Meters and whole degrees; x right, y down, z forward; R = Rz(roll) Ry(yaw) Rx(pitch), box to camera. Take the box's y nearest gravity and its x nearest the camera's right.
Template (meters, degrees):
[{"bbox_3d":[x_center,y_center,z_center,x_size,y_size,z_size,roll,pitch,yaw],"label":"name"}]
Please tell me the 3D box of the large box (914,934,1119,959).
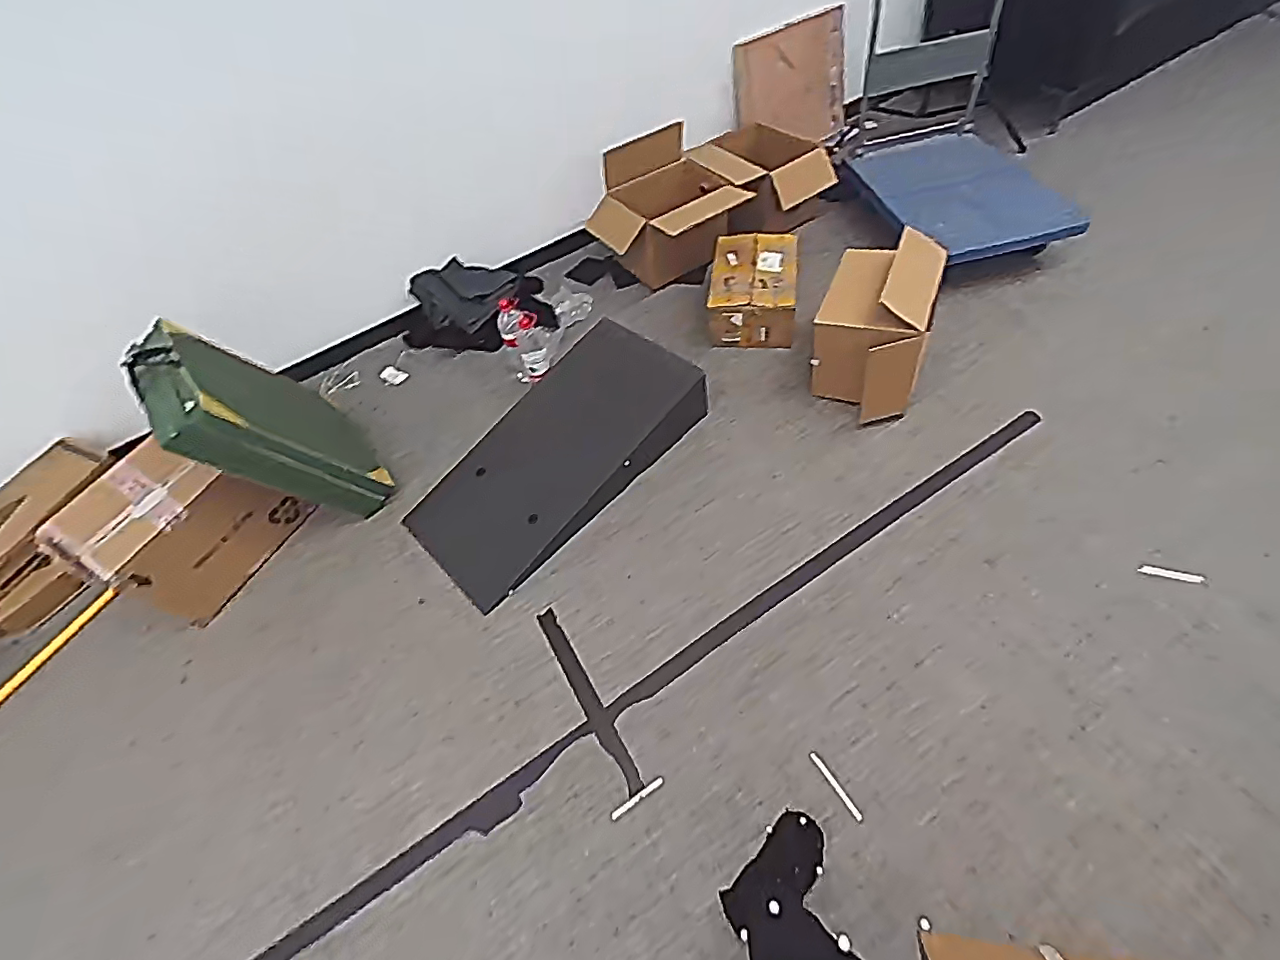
[{"bbox_3d":[0.495,0.745,0.523,0.320,0.408,0.320,-1,75,14],"label":"large box"}]
